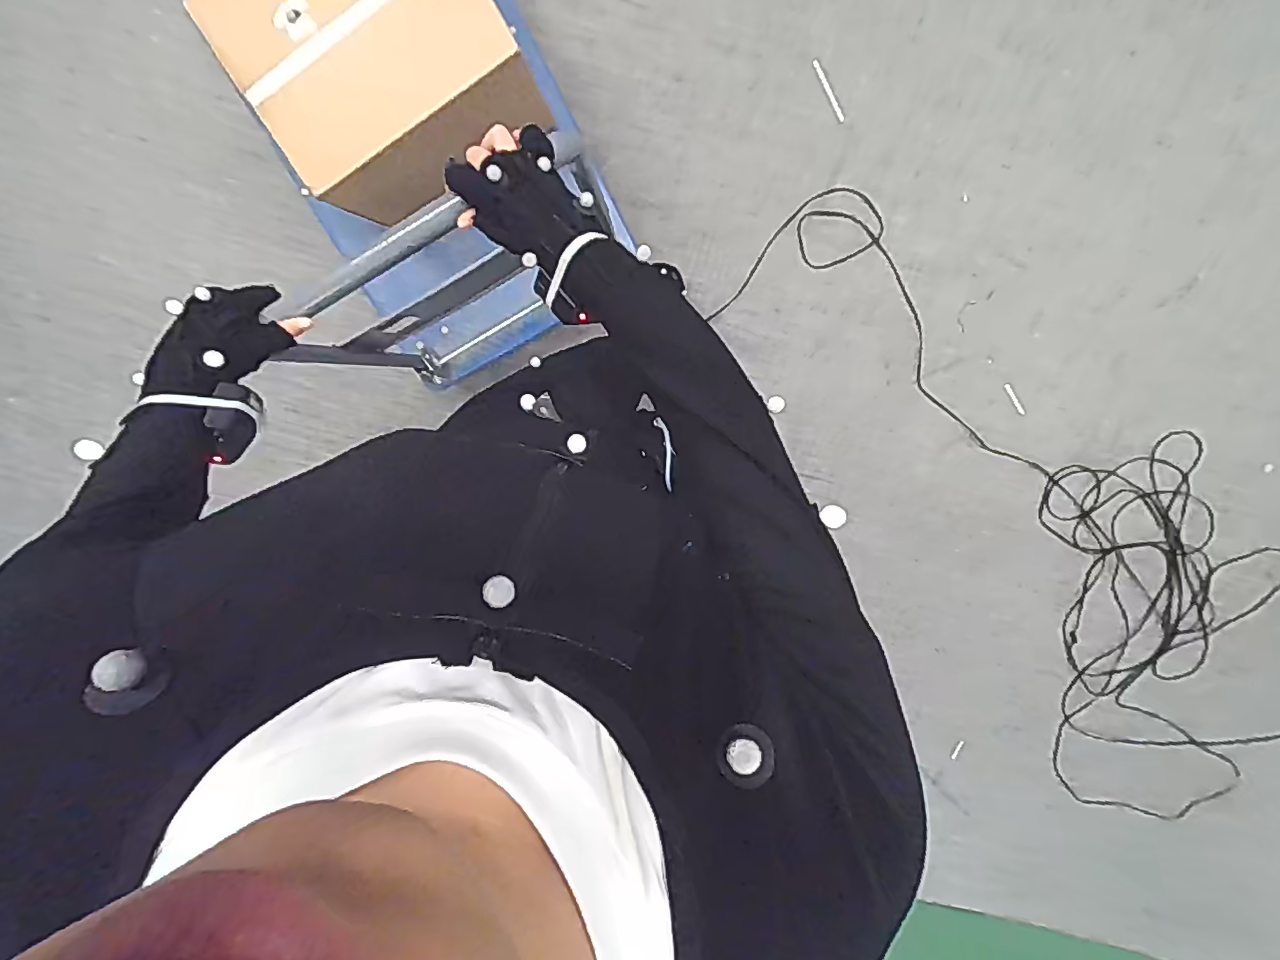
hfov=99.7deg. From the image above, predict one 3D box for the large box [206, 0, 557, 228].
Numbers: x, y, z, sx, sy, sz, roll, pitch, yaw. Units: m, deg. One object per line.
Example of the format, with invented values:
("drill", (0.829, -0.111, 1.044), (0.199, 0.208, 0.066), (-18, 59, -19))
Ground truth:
("large box", (-0.418, -0.725, 0.971), (0.408, 0.320, 0.320), (-29, 102, 10))
